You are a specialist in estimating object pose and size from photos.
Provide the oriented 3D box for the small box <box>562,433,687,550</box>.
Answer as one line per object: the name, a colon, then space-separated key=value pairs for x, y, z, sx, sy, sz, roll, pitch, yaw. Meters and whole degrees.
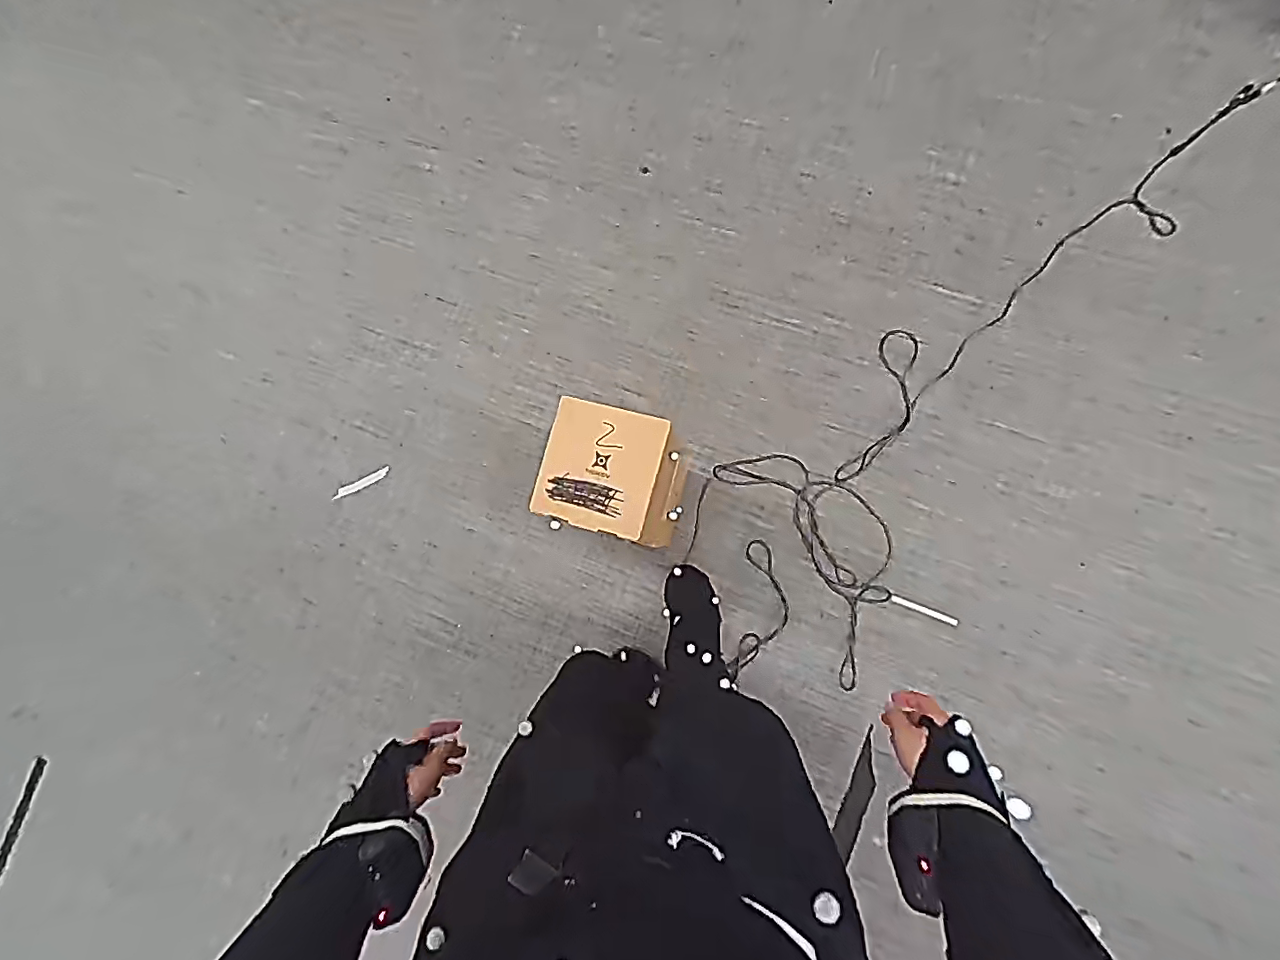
small box: x=-0.018 y=0.024 z=0.994 sx=0.179 sy=0.176 sz=0.168 roll=15 pitch=87 yaw=11
